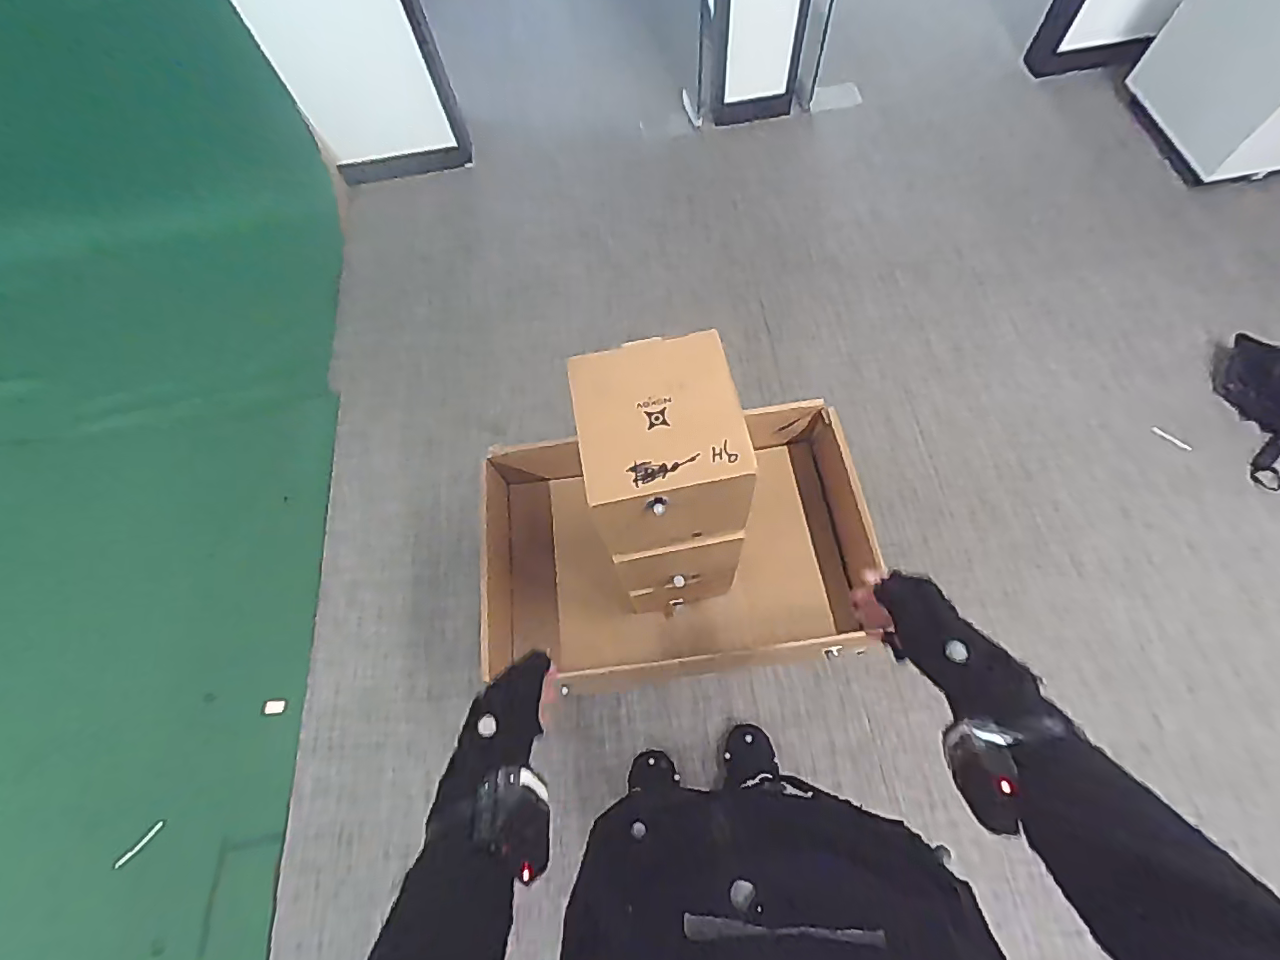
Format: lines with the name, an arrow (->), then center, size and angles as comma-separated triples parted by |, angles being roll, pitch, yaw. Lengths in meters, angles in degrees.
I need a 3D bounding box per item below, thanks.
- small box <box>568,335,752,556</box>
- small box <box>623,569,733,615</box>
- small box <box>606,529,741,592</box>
small box -> 0.021, -0.031, 0.618 | 0.168, 0.176, 0.179 | -12, 64, 2
small box -> 0.049, 0.113, 0.911 | 0.168, 0.176, 0.179 | -13, 66, 0
small box -> 0.037, 0.044, 0.763 | 0.168, 0.176, 0.179 | -11, 66, 1
